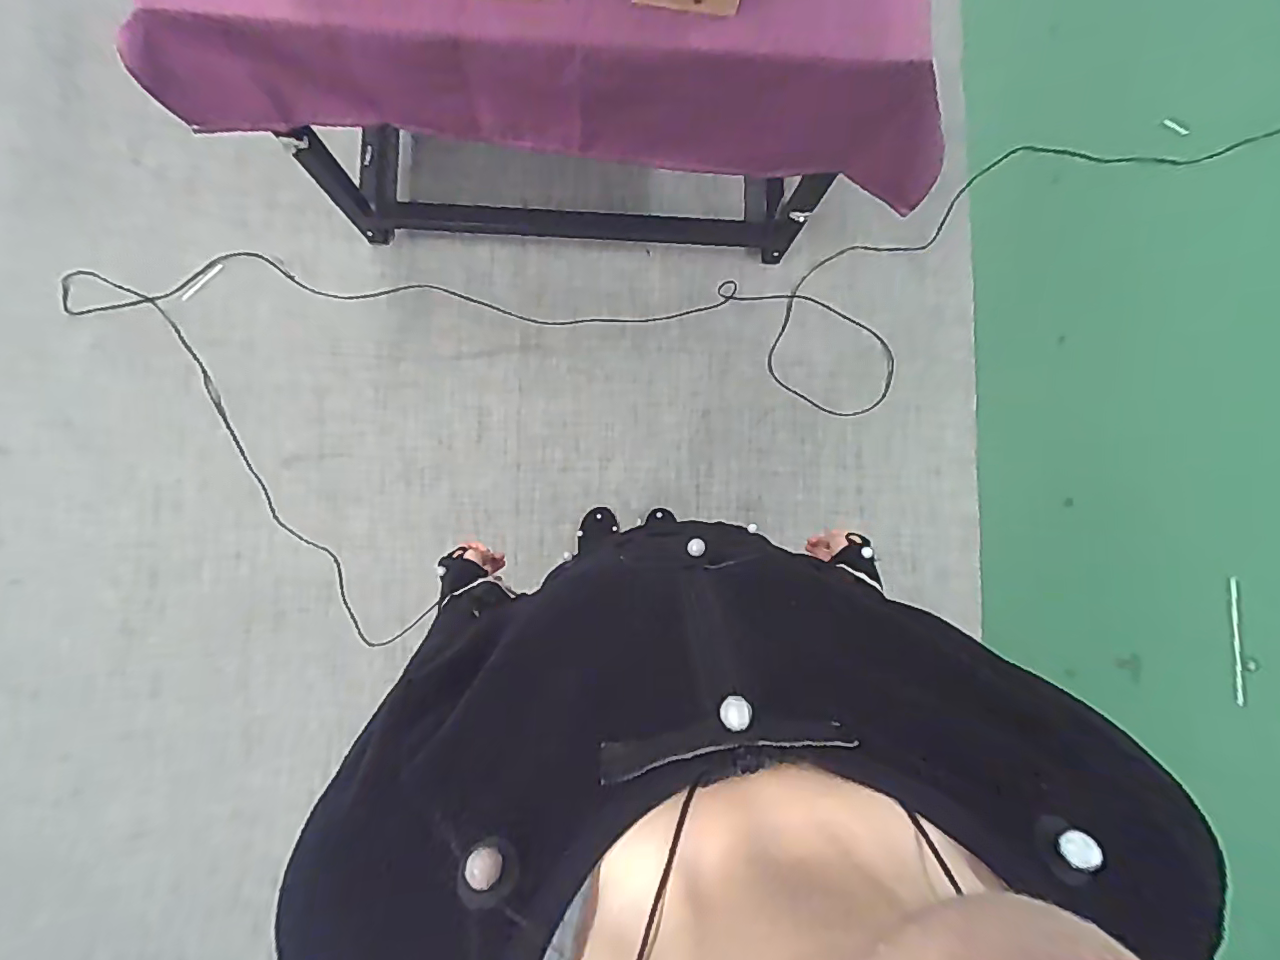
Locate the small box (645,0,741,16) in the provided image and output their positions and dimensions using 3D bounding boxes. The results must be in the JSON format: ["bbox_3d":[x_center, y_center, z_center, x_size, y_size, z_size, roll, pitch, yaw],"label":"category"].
[{"bbox_3d":[0.086,-0.822,0.765,0.168,0.176,0.179,7,85,-2],"label":"small box"}]
